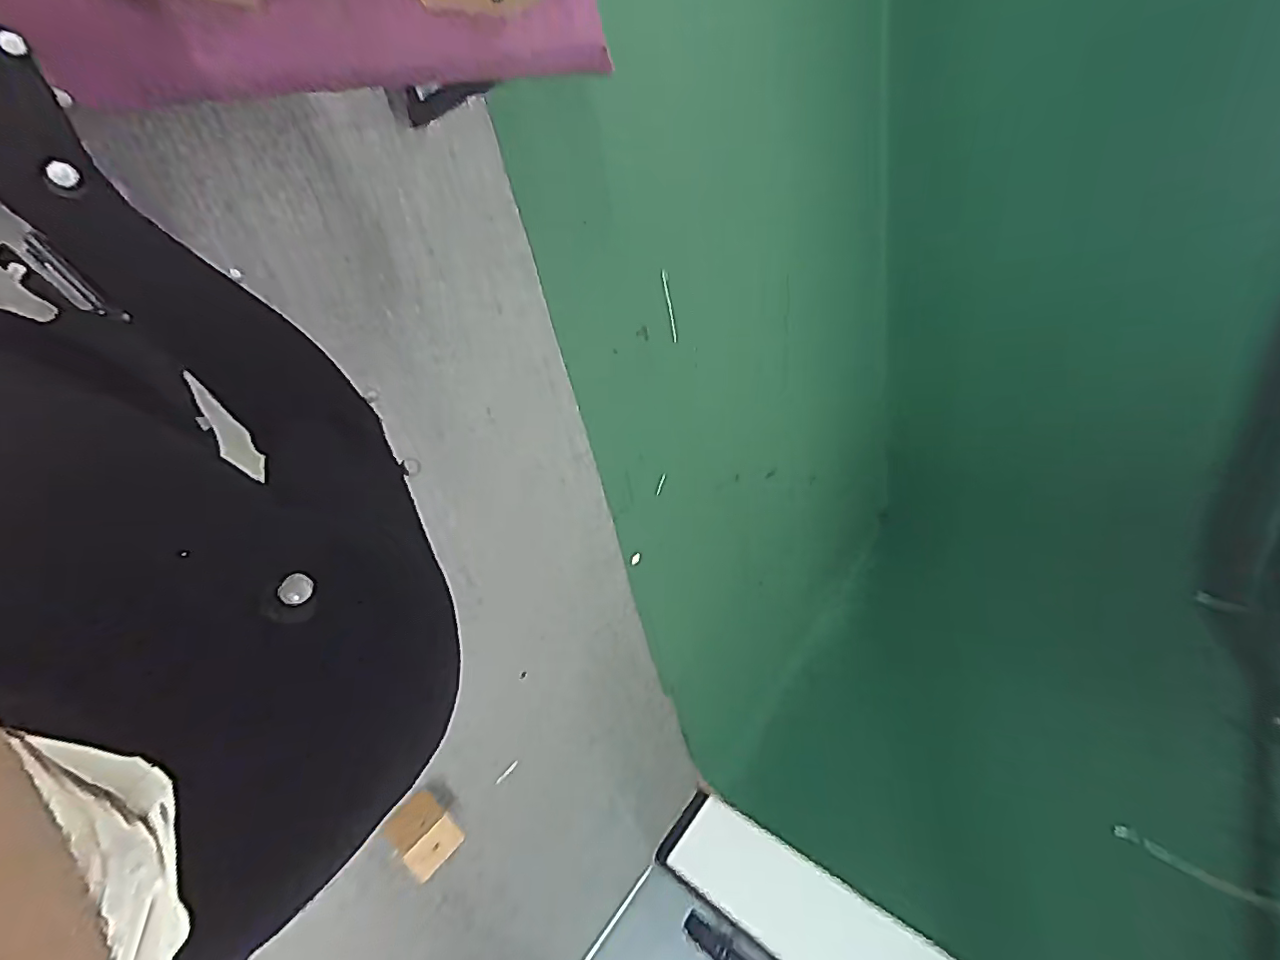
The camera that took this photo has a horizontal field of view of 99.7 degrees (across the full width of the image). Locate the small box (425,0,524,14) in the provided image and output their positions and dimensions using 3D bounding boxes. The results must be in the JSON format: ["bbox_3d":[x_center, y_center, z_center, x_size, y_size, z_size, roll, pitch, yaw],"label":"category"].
[{"bbox_3d":[-0.240,-0.826,0.797,0.179,0.176,0.168,-32,121,-37],"label":"small box"}]

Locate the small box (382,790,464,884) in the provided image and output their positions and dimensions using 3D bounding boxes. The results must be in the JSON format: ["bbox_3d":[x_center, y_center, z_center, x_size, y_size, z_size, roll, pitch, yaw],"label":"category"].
[{"bbox_3d":[-0.750,1.221,1.862,0.179,0.176,0.168,-38,125,-35],"label":"small box"}]
